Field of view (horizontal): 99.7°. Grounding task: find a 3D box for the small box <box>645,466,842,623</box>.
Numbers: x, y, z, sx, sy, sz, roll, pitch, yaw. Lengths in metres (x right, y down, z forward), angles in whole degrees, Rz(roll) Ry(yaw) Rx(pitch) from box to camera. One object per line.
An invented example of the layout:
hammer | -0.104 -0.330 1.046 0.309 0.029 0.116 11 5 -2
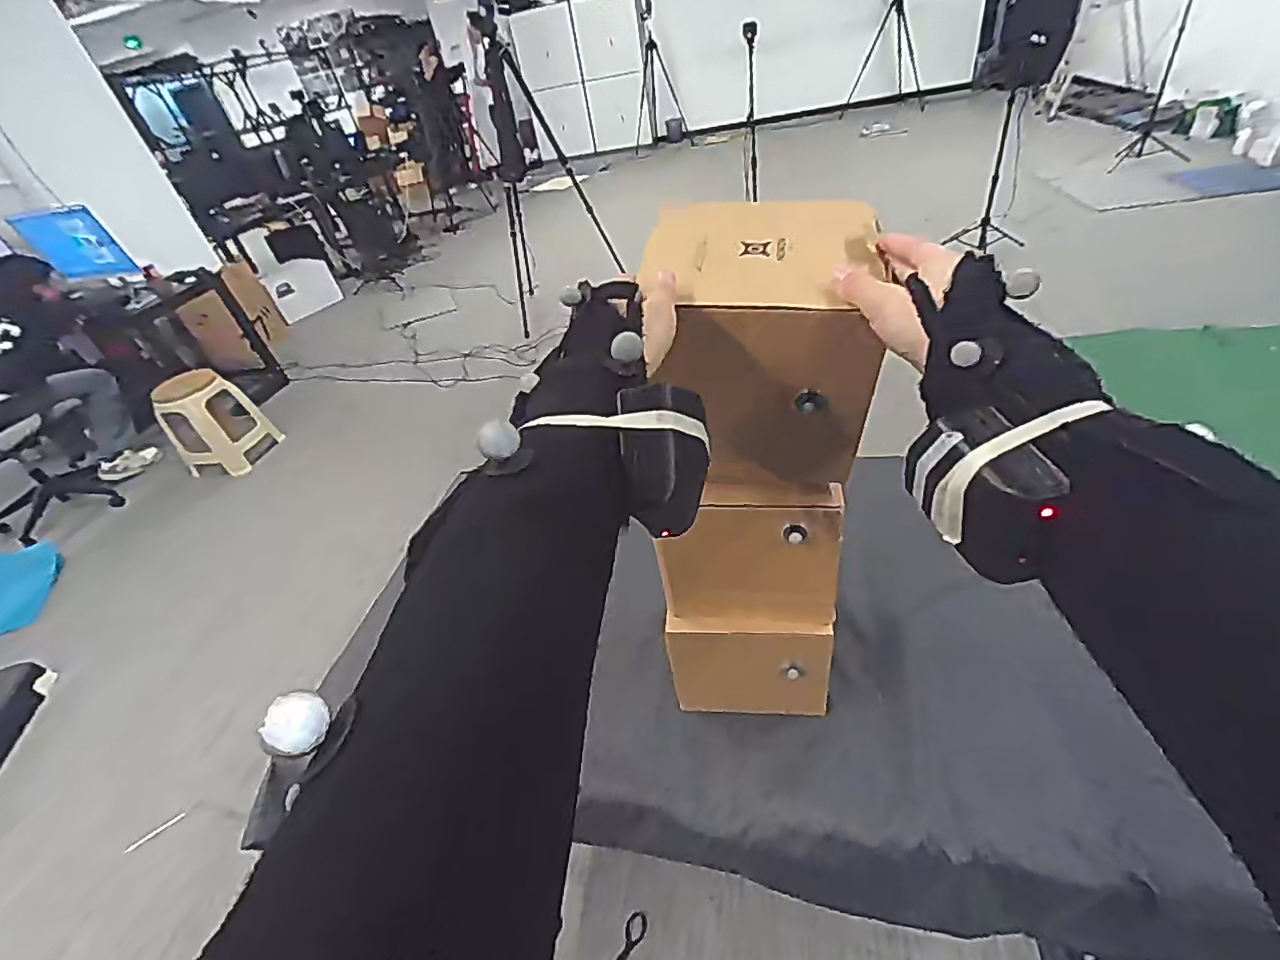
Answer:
small box | 0.114 0.037 0.584 0.179 0.176 0.168 0 39 13

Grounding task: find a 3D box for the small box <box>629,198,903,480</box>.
small box | 0.099 -0.115 0.456 0.179 0.176 0.168 3 48 11
